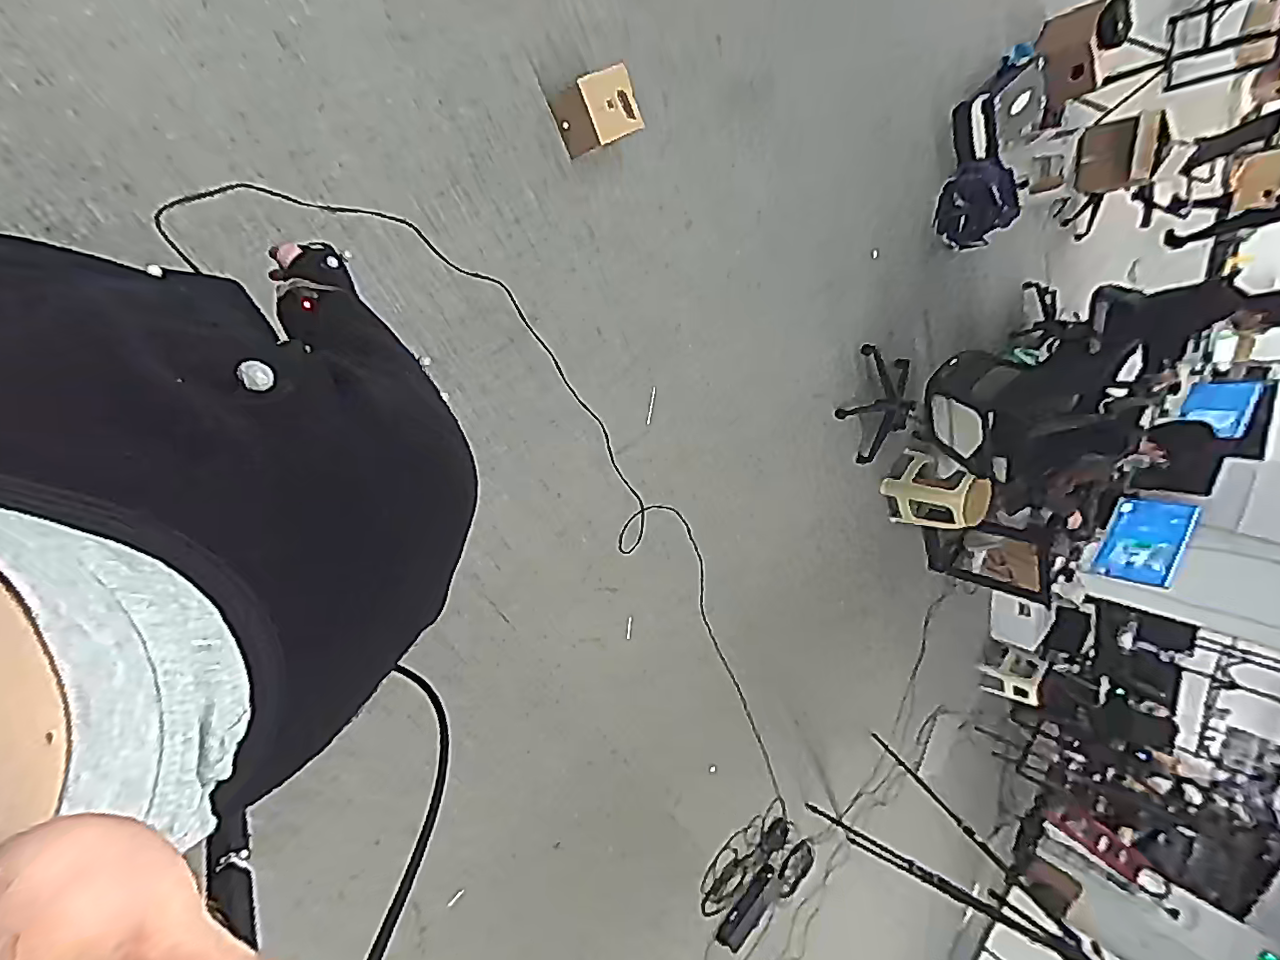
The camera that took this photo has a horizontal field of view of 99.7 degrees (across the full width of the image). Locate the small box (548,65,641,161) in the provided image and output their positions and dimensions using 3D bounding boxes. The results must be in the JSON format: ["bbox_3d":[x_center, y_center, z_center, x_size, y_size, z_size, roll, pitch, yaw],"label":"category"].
[{"bbox_3d":[-0.136,-1.066,1.579,0.179,0.176,0.168,-40,120,-23],"label":"small box"}]
